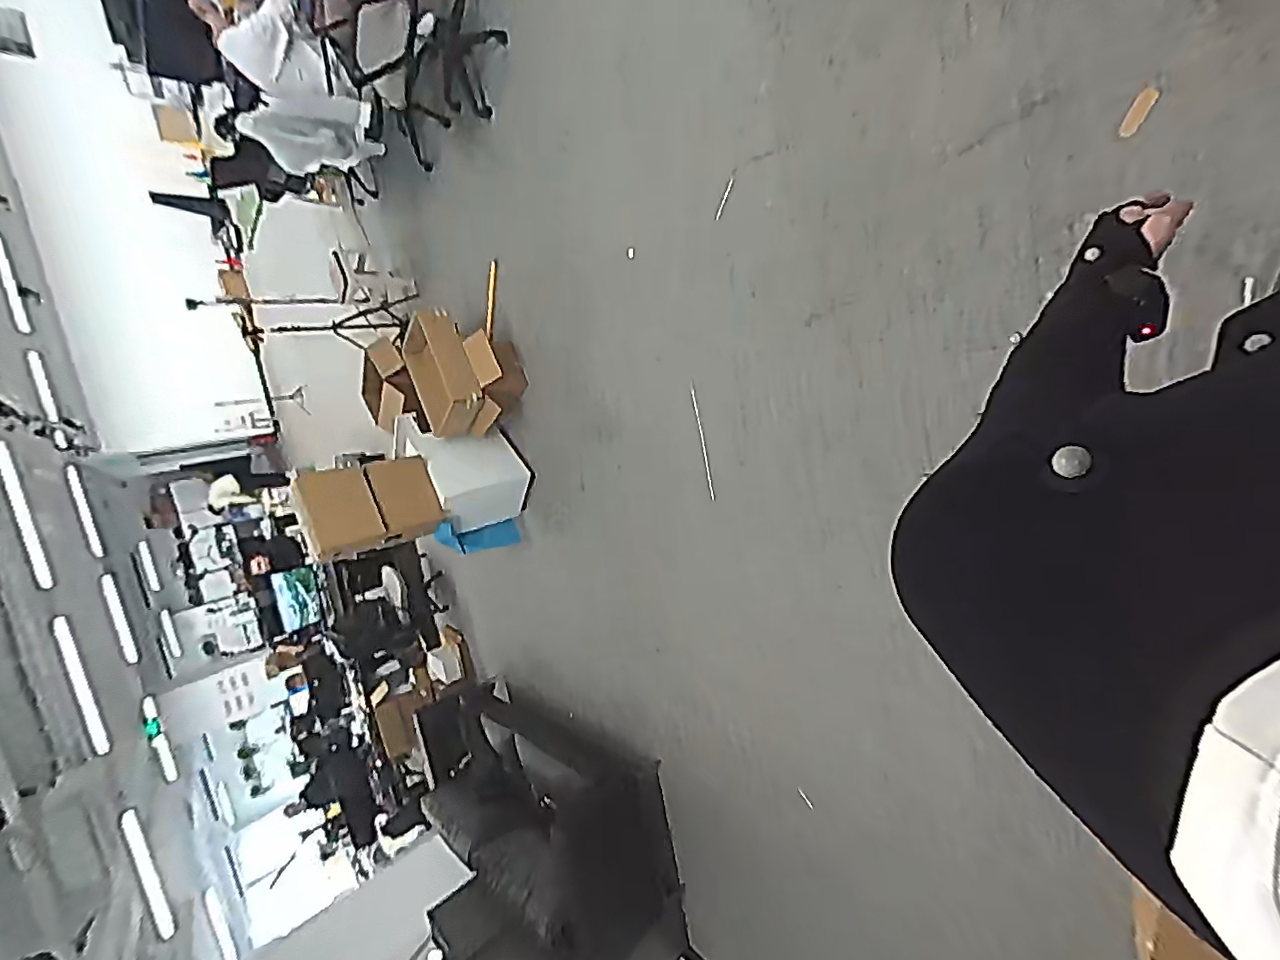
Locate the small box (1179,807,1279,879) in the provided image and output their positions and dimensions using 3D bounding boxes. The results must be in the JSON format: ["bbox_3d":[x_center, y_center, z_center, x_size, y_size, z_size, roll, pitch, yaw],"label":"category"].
[{"bbox_3d":[1.351,0.888,1.223,0.179,0.176,0.168,-1,102,49],"label":"small box"}]

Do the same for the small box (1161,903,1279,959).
[{"bbox_3d":[1.109,0.958,1.016,0.179,0.176,0.168,-2,101,49],"label":"small box"}]

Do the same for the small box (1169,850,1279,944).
[{"bbox_3d":[1.231,0.917,1.120,0.179,0.176,0.168,-3,100,48],"label":"small box"}]
